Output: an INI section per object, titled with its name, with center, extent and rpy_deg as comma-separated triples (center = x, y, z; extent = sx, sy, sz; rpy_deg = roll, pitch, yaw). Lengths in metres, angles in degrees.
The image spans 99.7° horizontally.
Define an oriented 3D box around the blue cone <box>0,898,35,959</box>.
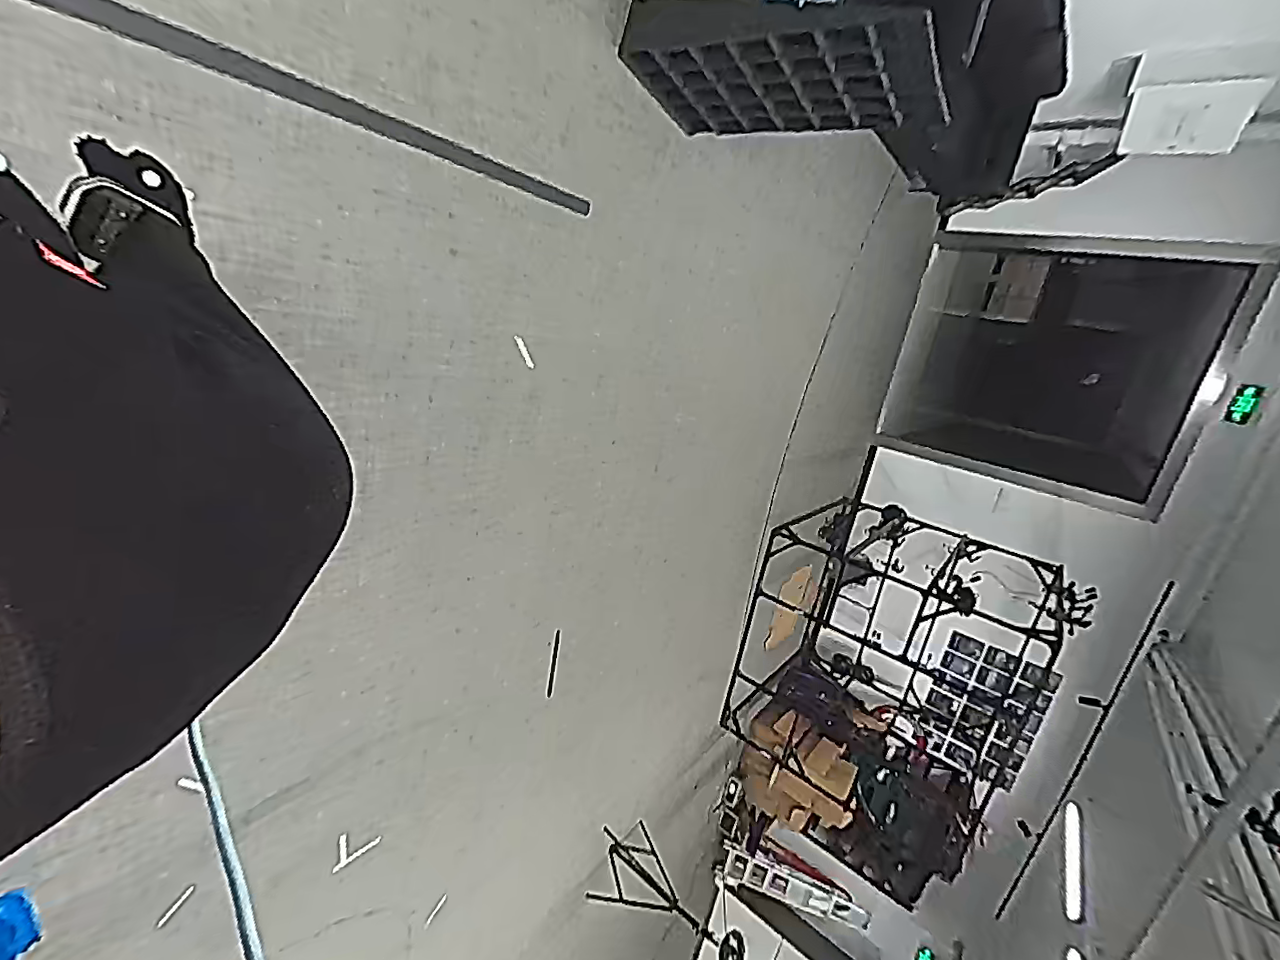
[blue cone]
center = -1.365, 1.102, 1.108
extent = 0.192, 0.380, 0.193
rpy_deg = -16, 122, -52
